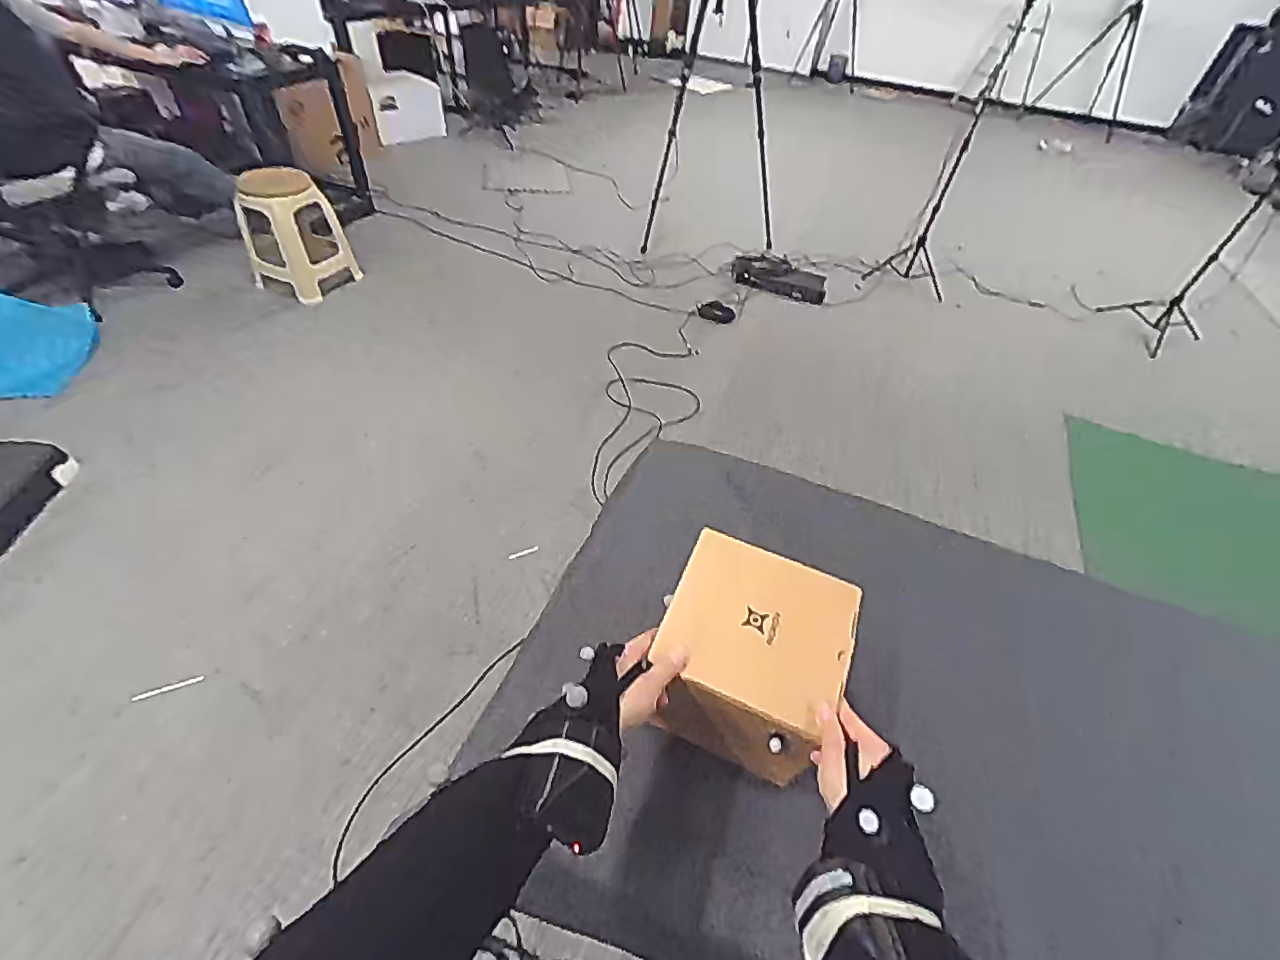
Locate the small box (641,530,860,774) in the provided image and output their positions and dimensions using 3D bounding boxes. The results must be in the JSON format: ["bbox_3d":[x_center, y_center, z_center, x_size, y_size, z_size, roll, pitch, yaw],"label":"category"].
[{"bbox_3d":[0.110,0.189,0.583,0.179,0.176,0.168,21,52,12],"label":"small box"}]
